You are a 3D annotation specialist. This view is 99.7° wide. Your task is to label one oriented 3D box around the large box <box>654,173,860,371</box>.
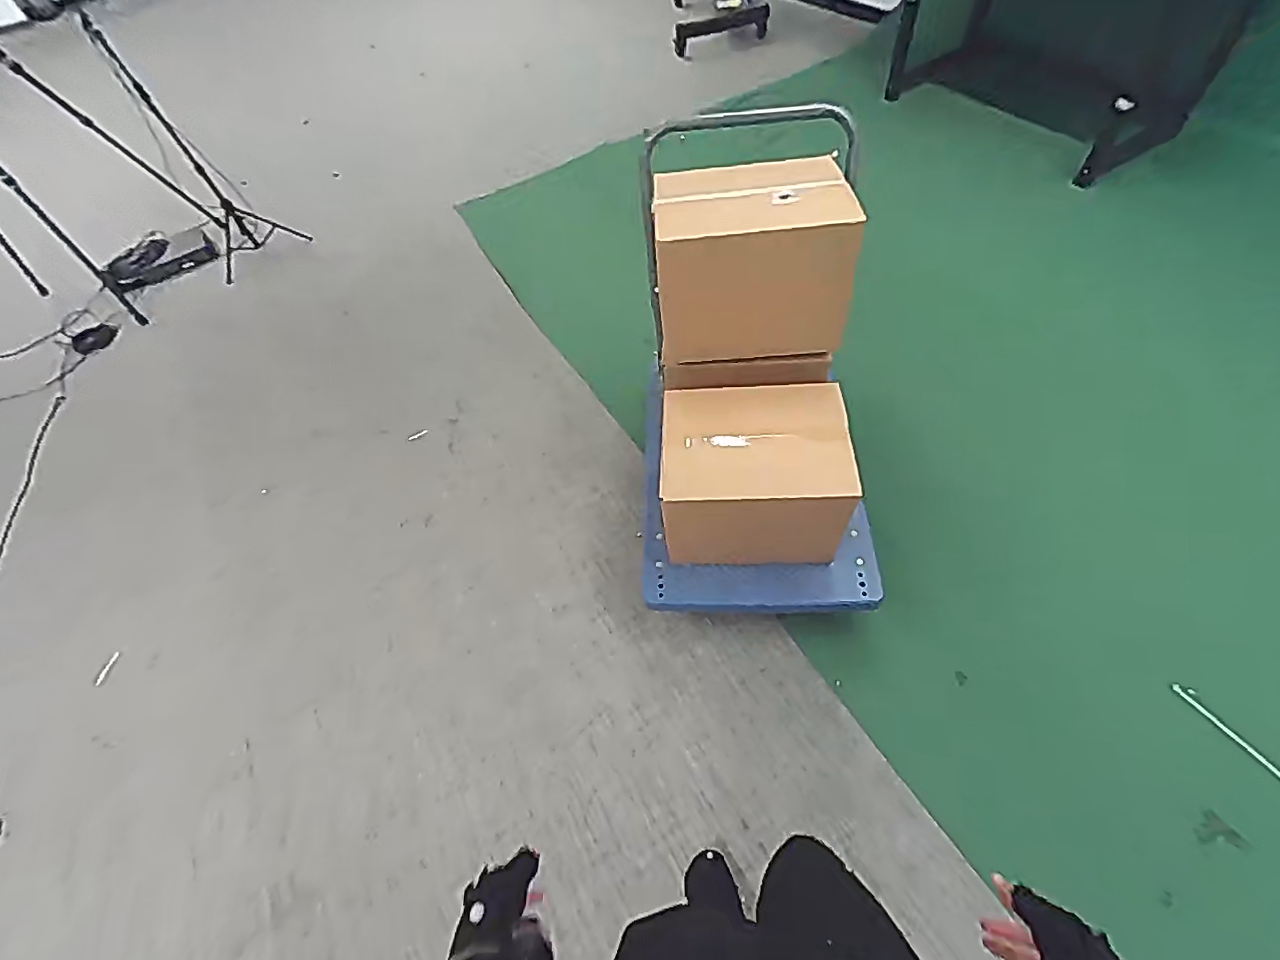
[{"bbox_3d":[0.242,-0.478,1.262,0.408,0.320,0.320,-3,50,4],"label":"large box"}]
